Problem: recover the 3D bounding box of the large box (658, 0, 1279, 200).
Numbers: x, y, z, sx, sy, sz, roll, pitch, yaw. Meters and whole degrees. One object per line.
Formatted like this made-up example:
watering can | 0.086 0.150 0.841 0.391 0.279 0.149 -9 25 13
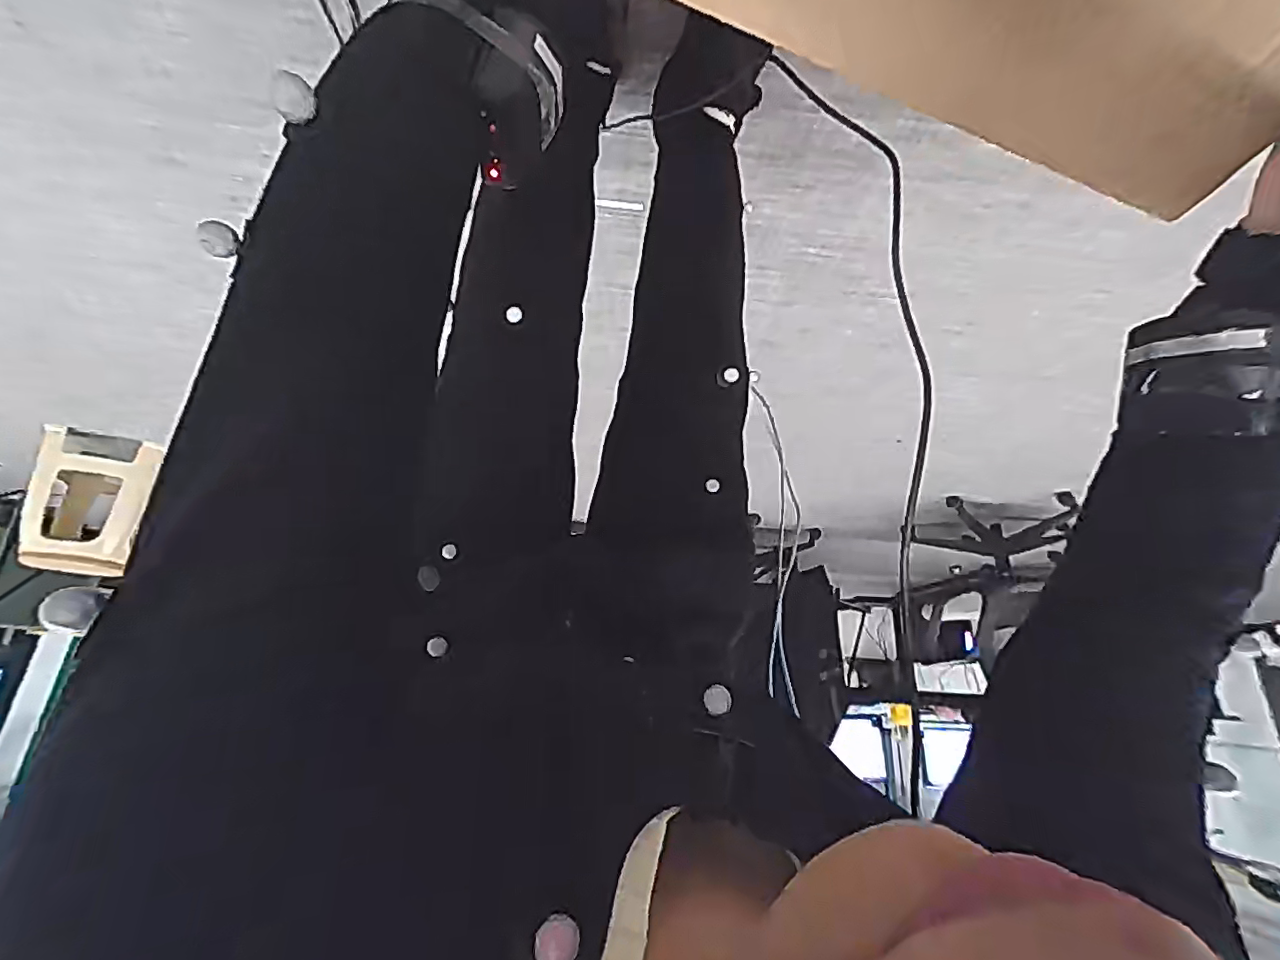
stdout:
large box | 0.235 -0.436 0.269 0.408 0.320 0.320 27 159 5
